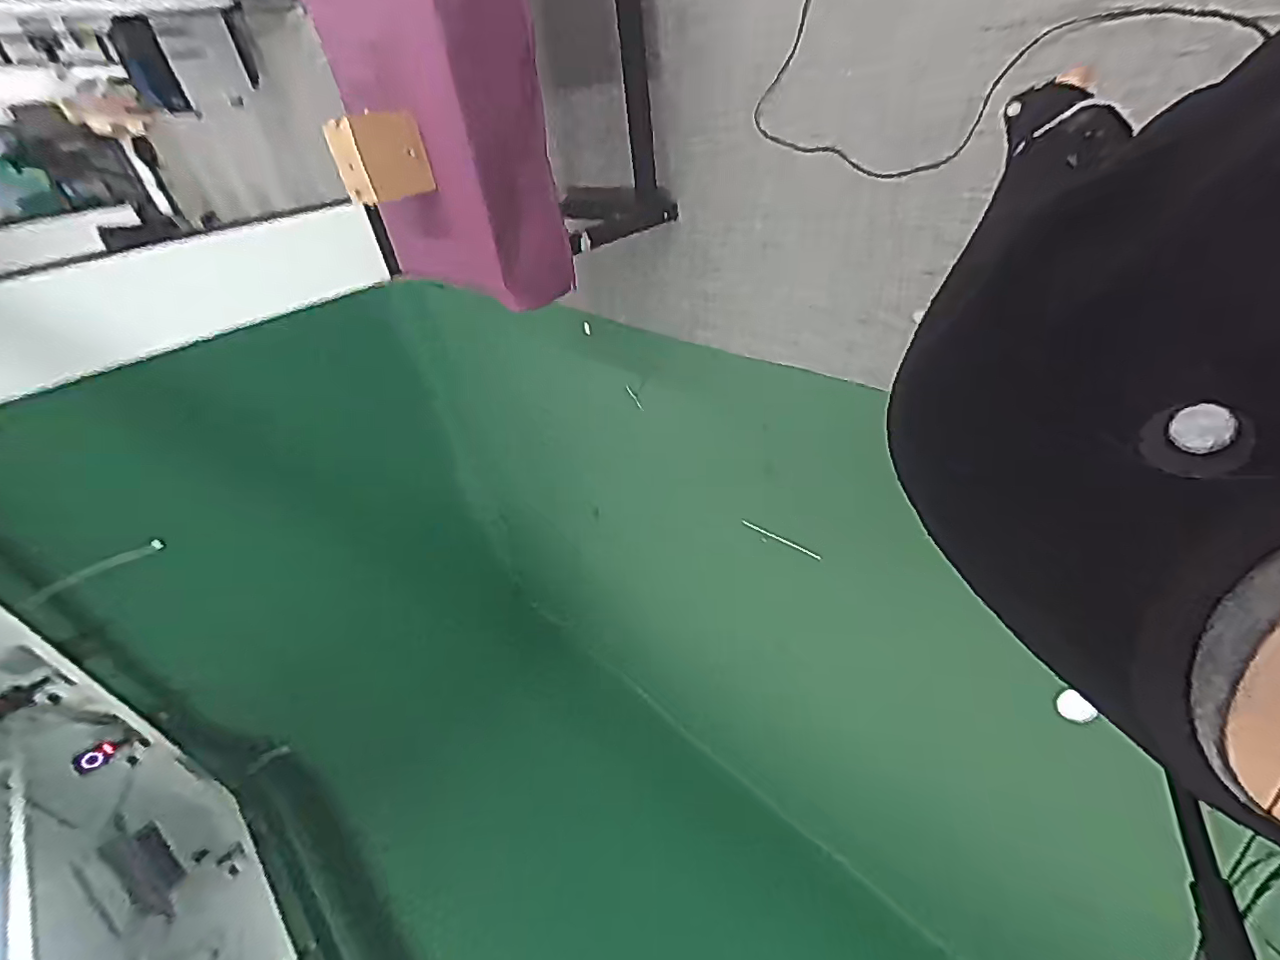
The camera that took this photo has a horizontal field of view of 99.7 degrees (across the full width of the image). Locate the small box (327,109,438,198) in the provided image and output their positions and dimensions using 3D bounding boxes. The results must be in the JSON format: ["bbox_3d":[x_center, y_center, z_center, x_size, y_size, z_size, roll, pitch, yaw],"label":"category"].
[{"bbox_3d":[-0.648,-0.829,1.373,0.168,0.176,0.179,24,136,39],"label":"small box"}]
